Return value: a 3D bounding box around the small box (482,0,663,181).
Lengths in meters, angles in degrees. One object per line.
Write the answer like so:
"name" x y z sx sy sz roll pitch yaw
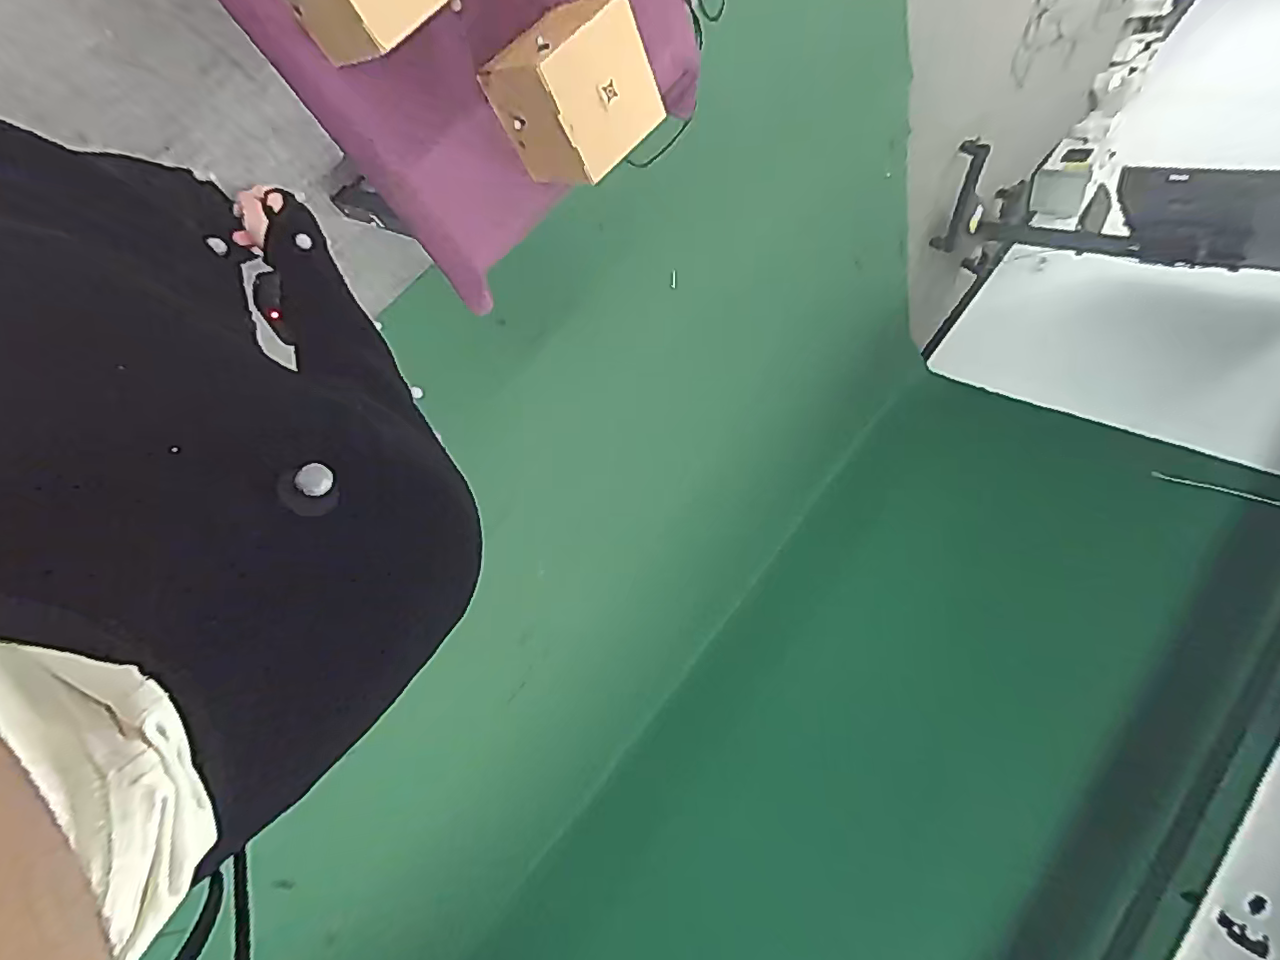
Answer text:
"small box" -0.101 -0.587 0.815 0.179 0.176 0.168 -49 140 -11

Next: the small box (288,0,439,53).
"small box" -0.307 -0.600 0.579 0.179 0.176 0.168 -50 141 -11
